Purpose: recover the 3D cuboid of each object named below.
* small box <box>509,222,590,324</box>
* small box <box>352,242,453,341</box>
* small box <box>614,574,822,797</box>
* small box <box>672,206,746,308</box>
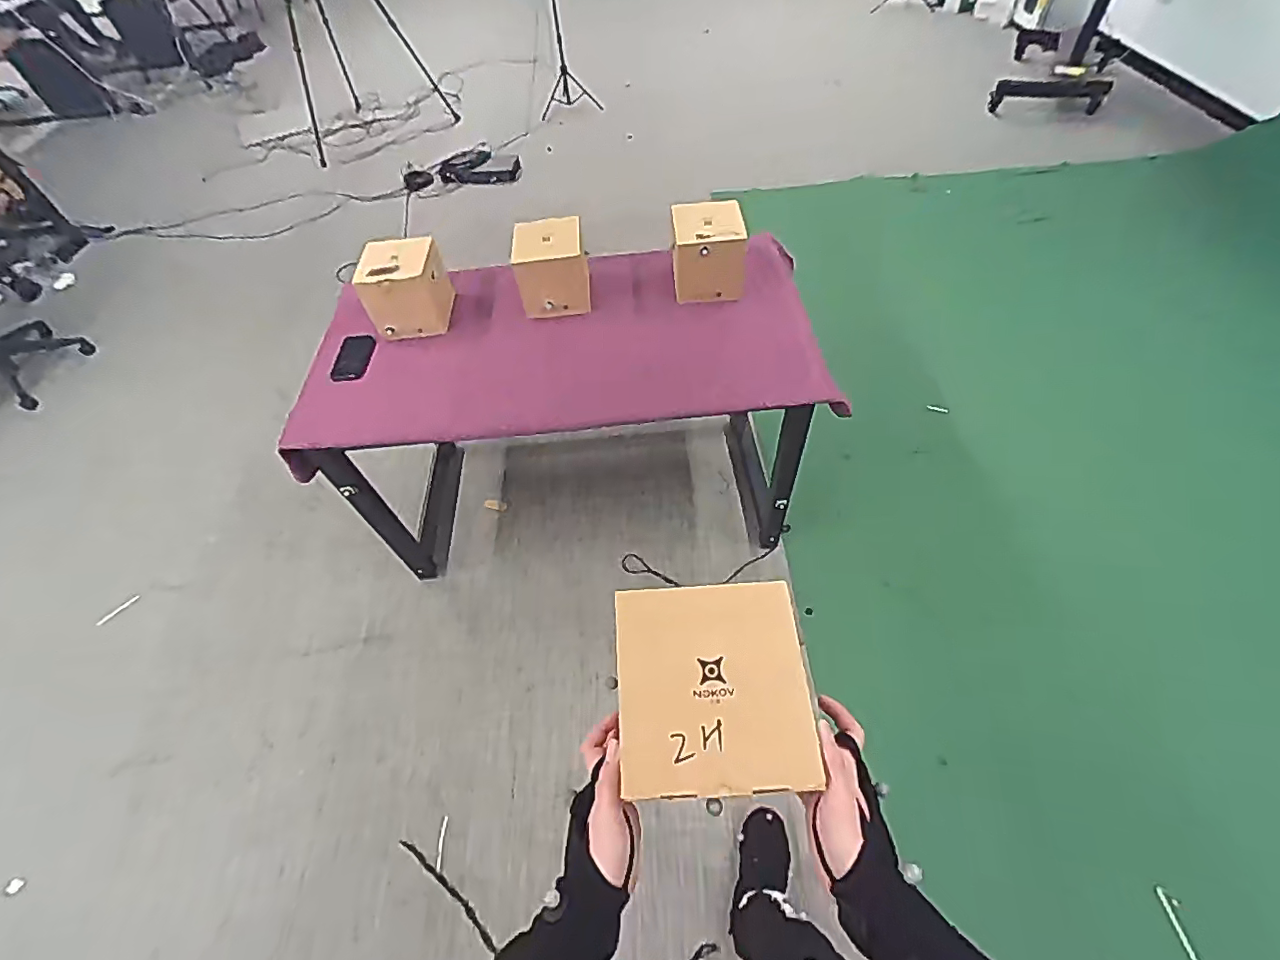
[{"bbox_3d":[-0.221,-0.520,1.364,0.168,0.176,0.179,-6,54,2],"label":"small box"},{"bbox_3d":[-0.583,-0.465,1.355,0.168,0.176,0.179,-5,53,1],"label":"small box"},{"bbox_3d":[0.062,0.208,0.532,0.168,0.176,0.179,-4,60,1],"label":"small box"},{"bbox_3d":[0.166,-0.555,1.353,0.168,0.176,0.179,-5,53,3],"label":"small box"}]
